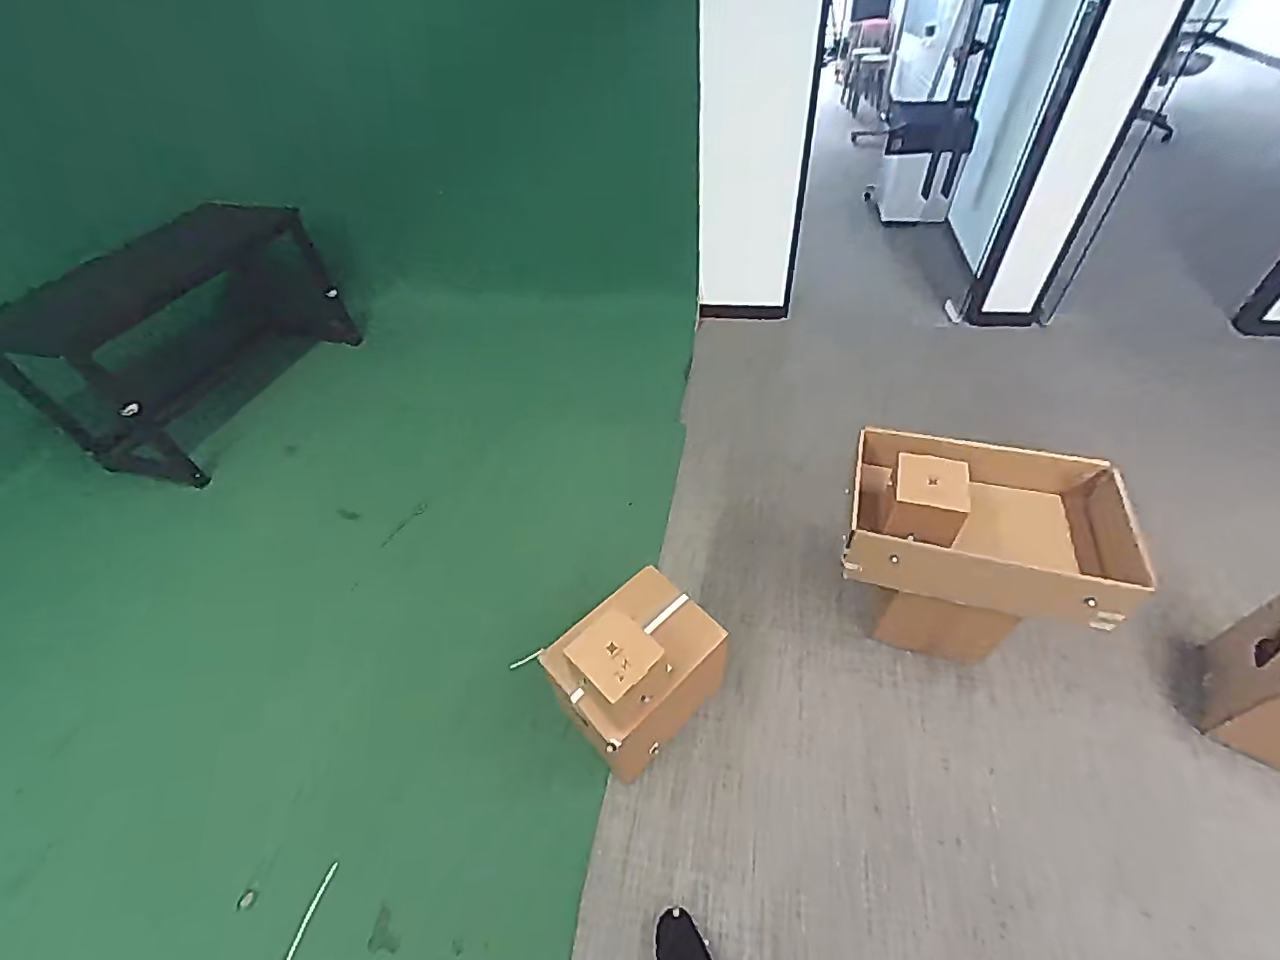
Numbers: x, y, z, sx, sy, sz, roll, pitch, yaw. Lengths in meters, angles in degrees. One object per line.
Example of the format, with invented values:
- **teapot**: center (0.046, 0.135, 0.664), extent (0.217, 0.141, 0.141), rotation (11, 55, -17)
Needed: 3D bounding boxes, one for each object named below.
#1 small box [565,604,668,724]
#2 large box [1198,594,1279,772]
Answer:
- **small box**: center (-0.051, 0.434, 1.265), extent (0.168, 0.176, 0.179), rotation (-37, 55, -26)
- **large box**: center (1.721, 0.558, 1.323), extent (0.408, 0.320, 0.320), rotation (24, 53, 26)
